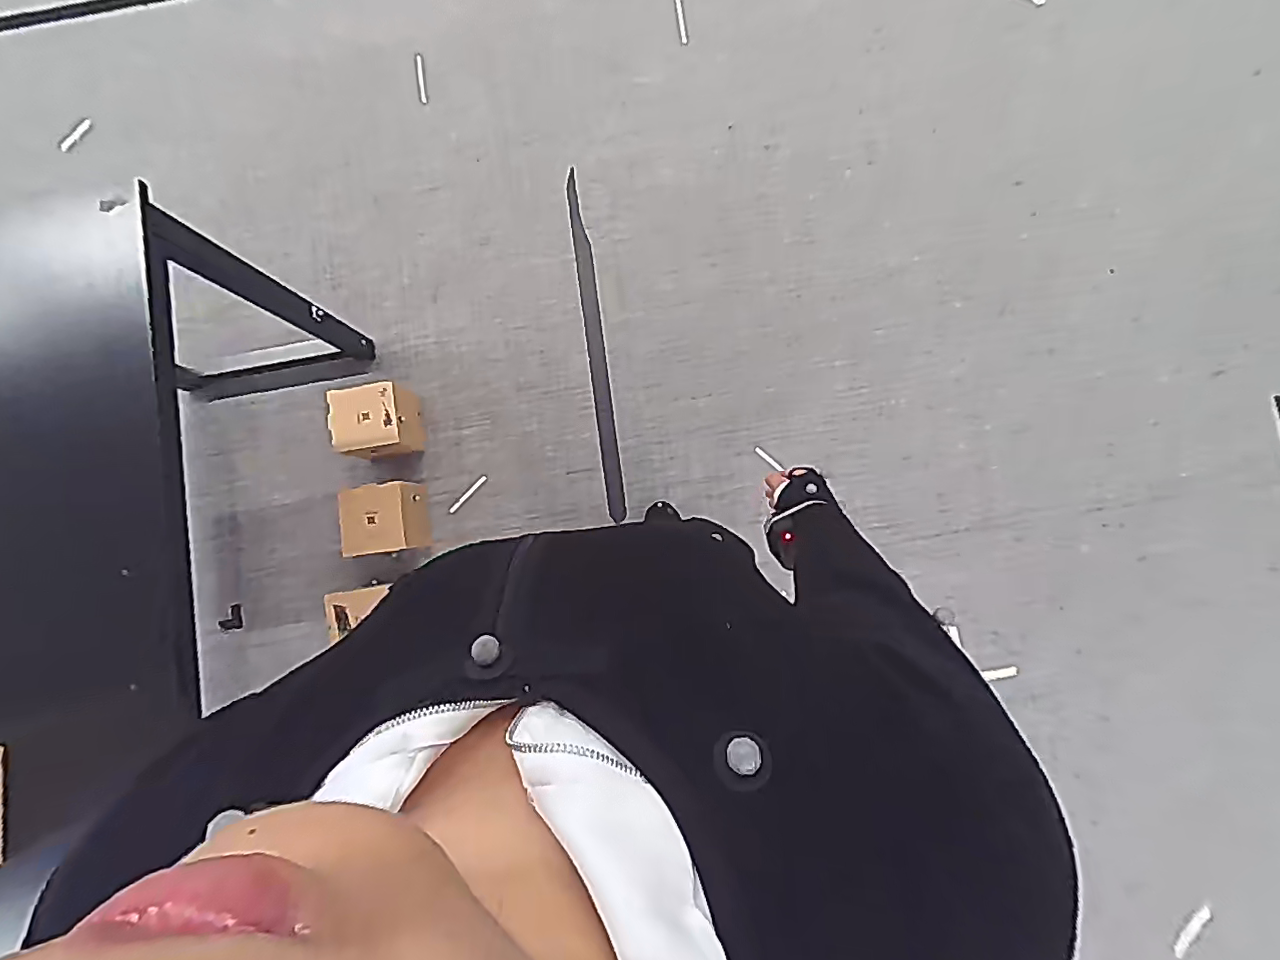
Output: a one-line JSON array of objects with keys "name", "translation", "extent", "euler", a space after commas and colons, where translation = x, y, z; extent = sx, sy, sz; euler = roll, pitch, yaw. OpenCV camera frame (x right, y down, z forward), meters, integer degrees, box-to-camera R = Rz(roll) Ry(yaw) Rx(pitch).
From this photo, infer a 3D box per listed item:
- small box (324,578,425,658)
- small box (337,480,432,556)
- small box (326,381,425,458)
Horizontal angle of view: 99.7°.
[{"name": "small box", "translation": [-0.696, 0.359, 1.427], "extent": [0.179, 0.176, 0.168], "euler": [-9, 85, 0]}, {"name": "small box", "translation": [-0.679, 0.103, 1.449], "extent": [0.168, 0.176, 0.179], "euler": [-9, 86, 2]}, {"name": "small box", "translation": [-0.713, -0.158, 1.469], "extent": [0.179, 0.176, 0.168], "euler": [-9, 86, 2]}]
